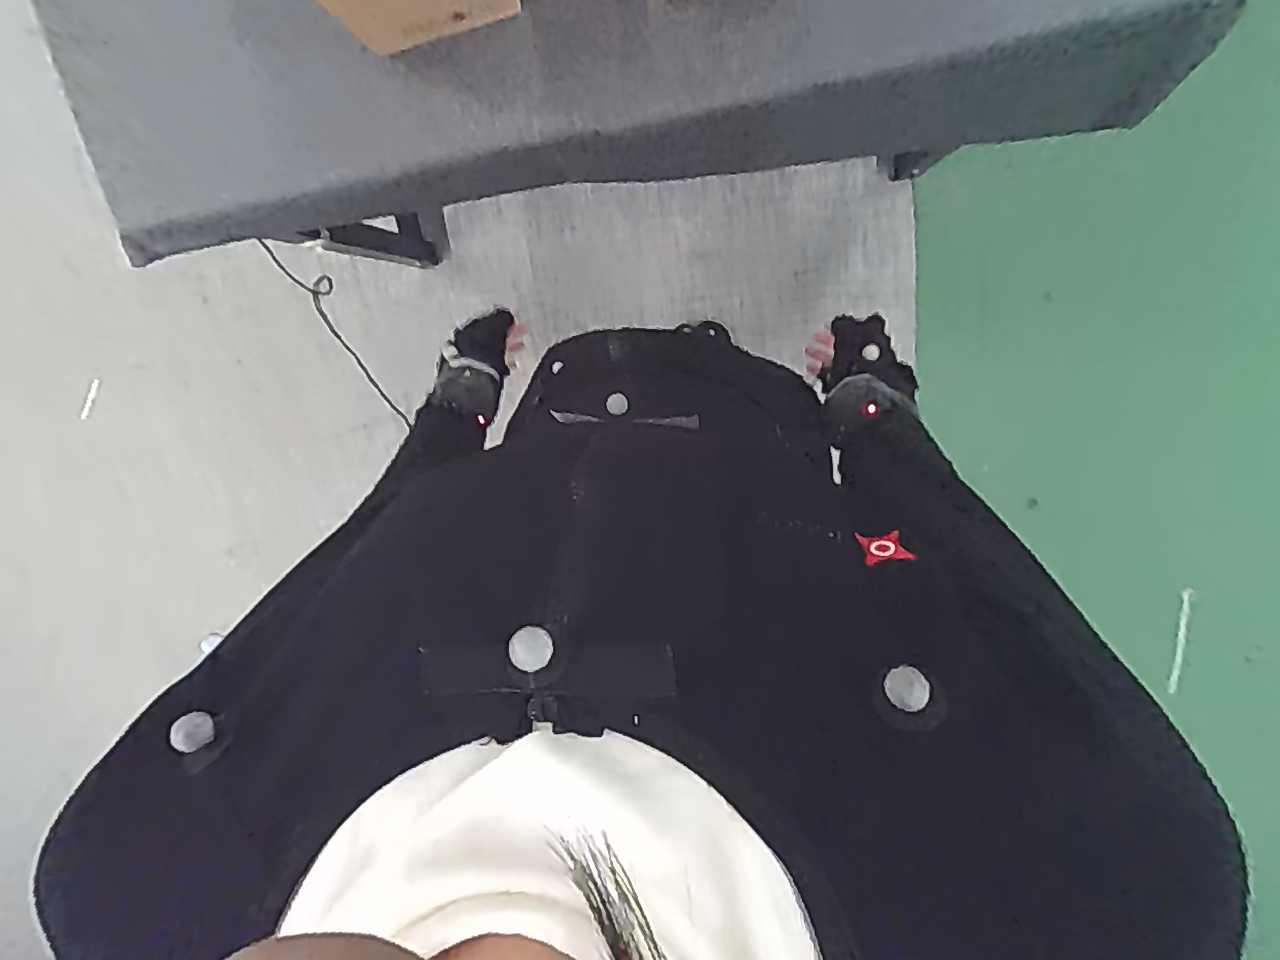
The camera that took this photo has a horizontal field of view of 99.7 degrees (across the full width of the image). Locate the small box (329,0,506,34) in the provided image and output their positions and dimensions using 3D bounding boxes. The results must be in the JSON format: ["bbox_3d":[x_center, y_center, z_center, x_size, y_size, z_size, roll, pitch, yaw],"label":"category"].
[{"bbox_3d":[-0.229,-0.537,0.473,0.168,0.176,0.179,-11,104,8],"label":"small box"}]
